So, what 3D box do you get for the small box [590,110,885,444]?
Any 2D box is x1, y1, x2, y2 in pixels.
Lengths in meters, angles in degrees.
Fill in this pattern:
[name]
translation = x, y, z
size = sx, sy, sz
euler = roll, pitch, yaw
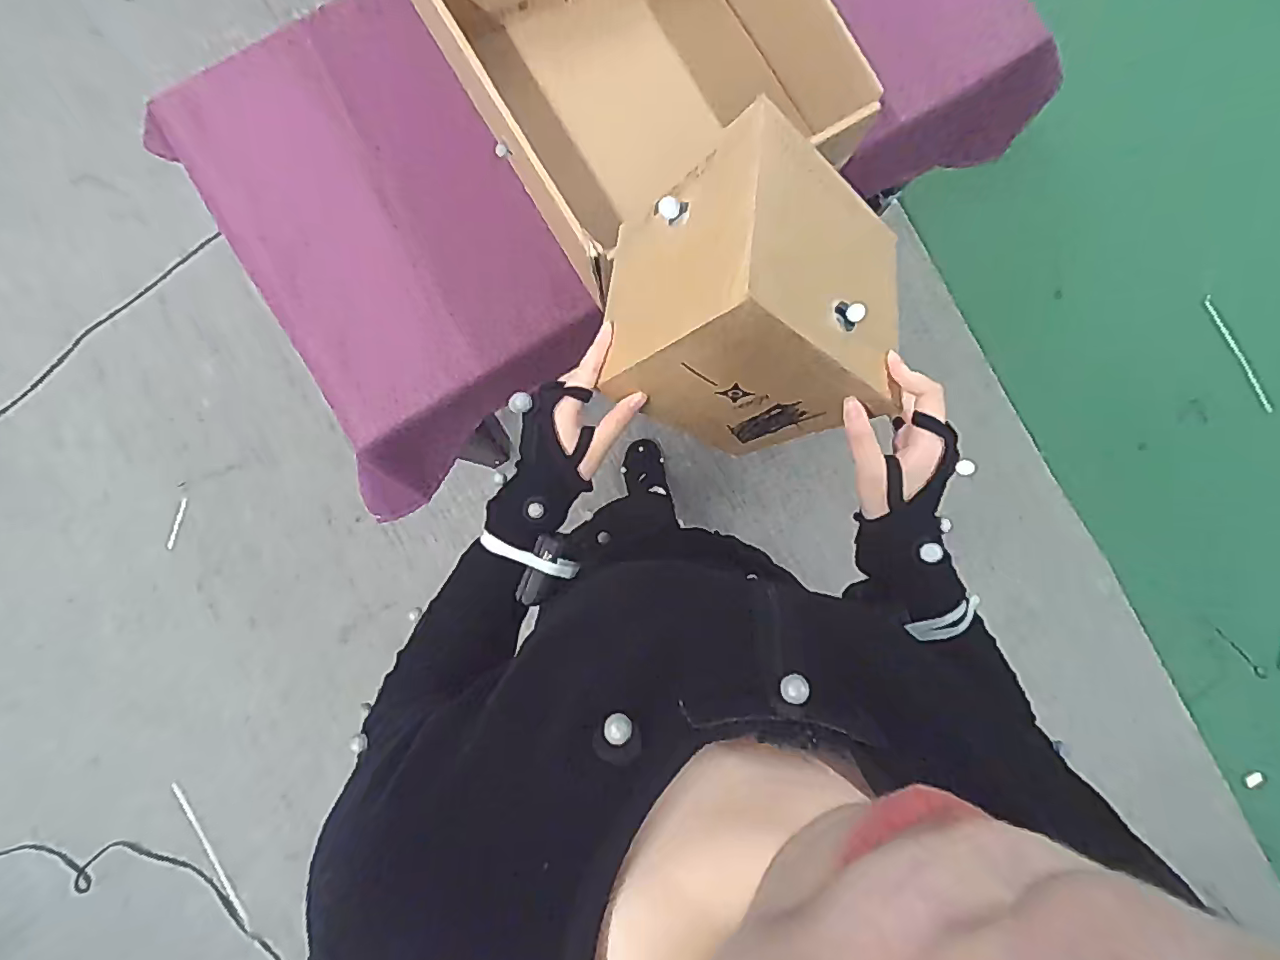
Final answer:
[small box]
translation = 0.085, -0.149, 0.452
size = 0.179, 0.168, 0.176
euler = 21, 68, -32
